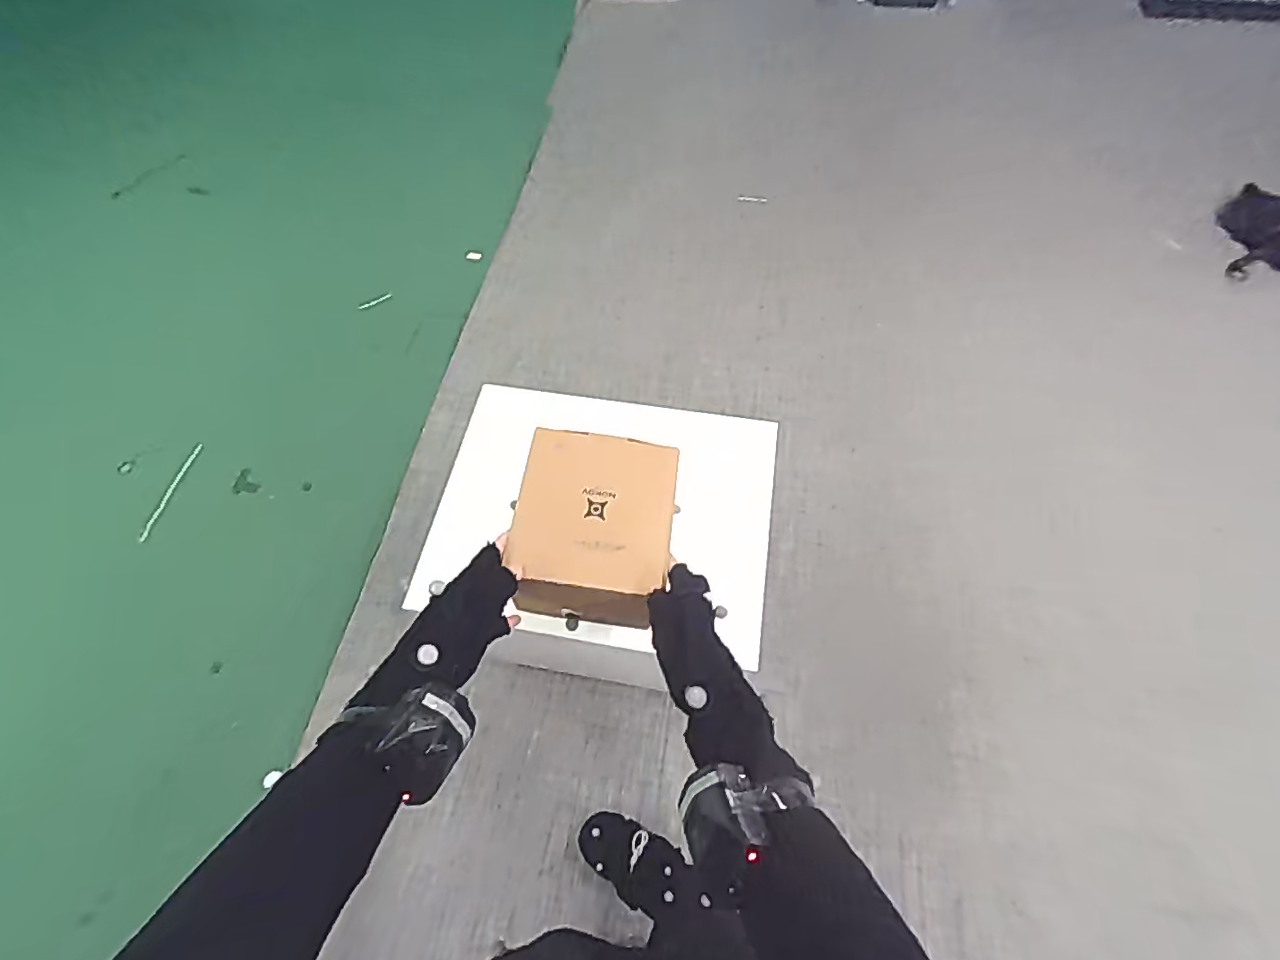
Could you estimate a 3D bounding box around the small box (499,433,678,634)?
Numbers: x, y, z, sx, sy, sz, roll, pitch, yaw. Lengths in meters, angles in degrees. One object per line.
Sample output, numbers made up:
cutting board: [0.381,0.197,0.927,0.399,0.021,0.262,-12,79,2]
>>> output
small box: [-0.054,0.070,0.636,0.168,0.176,0.179,8,64,0]
